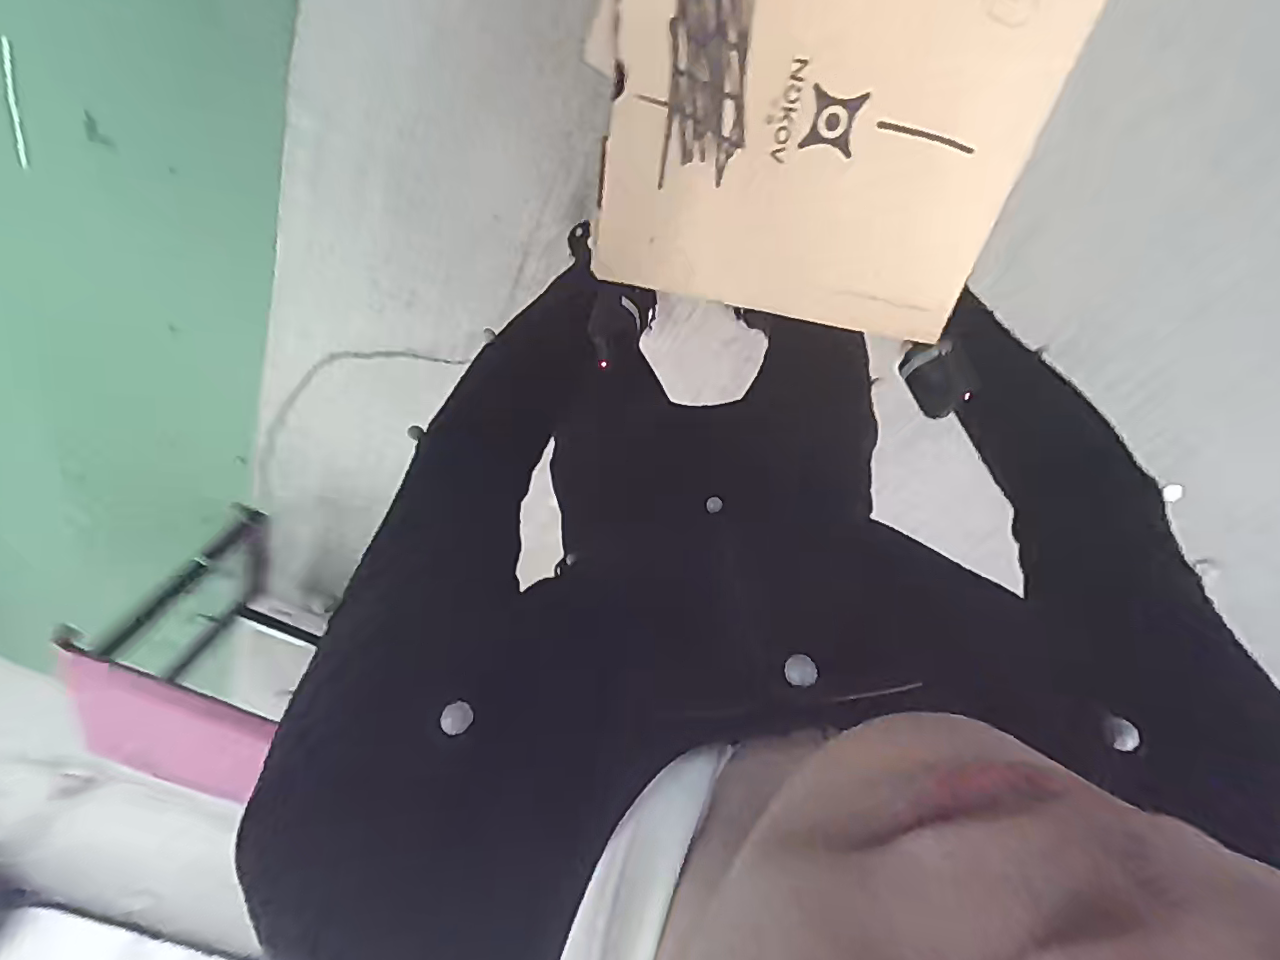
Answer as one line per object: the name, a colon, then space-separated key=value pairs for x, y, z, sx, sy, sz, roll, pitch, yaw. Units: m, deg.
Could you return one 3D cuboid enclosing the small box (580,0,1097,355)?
small box: x=0.080 y=-0.188 z=0.283 sx=0.179 sy=0.176 sz=0.168 roll=12 pitch=127 yaw=4
